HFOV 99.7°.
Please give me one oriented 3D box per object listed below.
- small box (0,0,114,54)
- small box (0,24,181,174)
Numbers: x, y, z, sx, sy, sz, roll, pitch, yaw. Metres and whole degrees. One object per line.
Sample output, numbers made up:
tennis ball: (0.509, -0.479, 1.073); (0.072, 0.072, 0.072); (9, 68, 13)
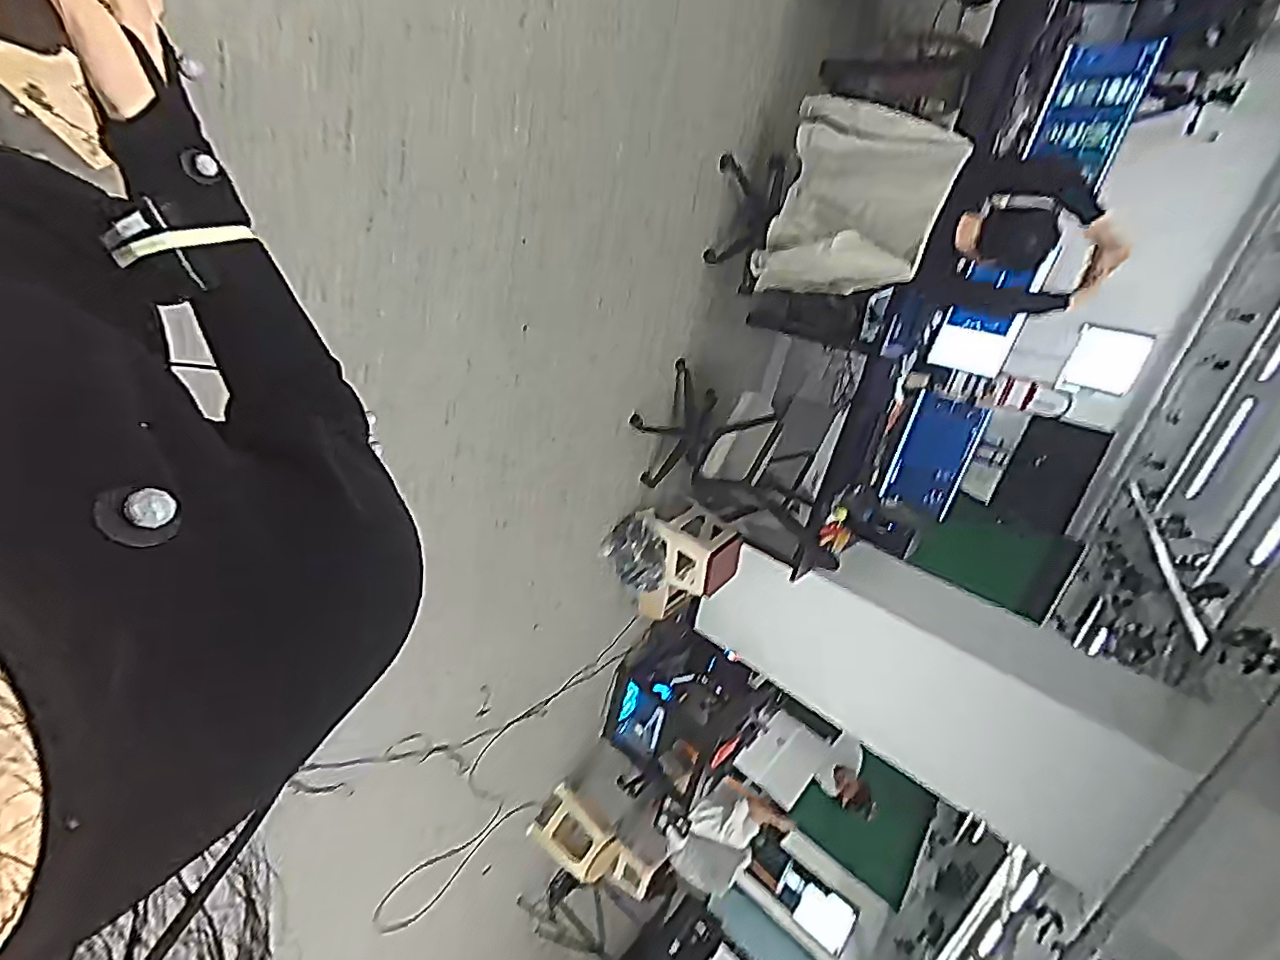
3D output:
small box: (-0.427, -0.380, 0.292); (0.168, 0.176, 0.179); (-13, 114, -54)
small box: (-0.933, -0.642, 0.895); (0.179, 0.176, 0.168); (-51, 146, -17)
